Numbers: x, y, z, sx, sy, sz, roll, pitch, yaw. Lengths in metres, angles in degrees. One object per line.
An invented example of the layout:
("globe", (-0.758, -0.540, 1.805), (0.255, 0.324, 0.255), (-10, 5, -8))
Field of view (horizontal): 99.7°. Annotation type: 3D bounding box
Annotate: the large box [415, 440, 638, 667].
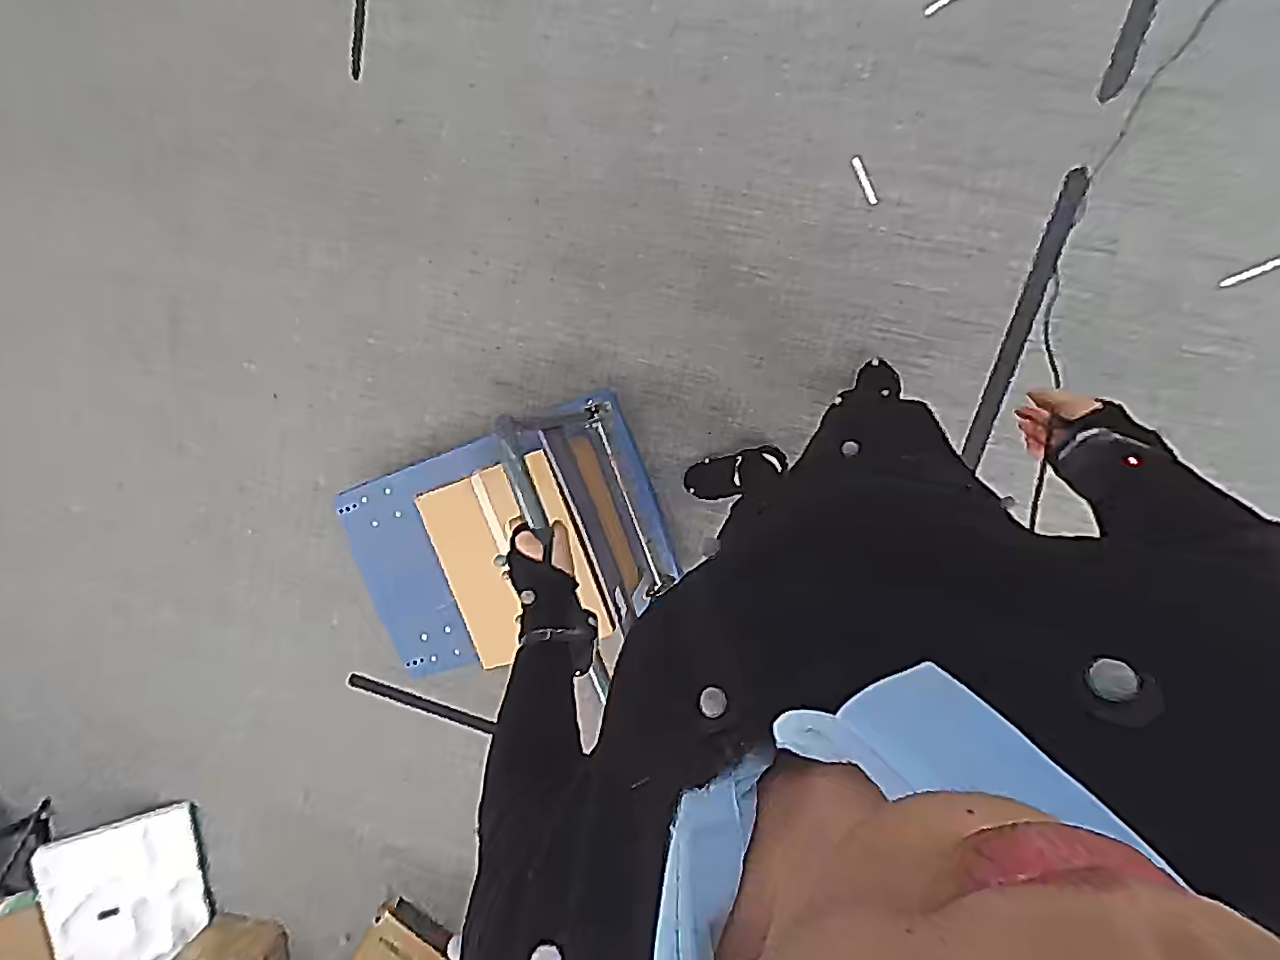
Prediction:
("large box", (-0.237, 0.154, 1.262), (0.320, 0.320, 0.408), (-19, 95, 13))
